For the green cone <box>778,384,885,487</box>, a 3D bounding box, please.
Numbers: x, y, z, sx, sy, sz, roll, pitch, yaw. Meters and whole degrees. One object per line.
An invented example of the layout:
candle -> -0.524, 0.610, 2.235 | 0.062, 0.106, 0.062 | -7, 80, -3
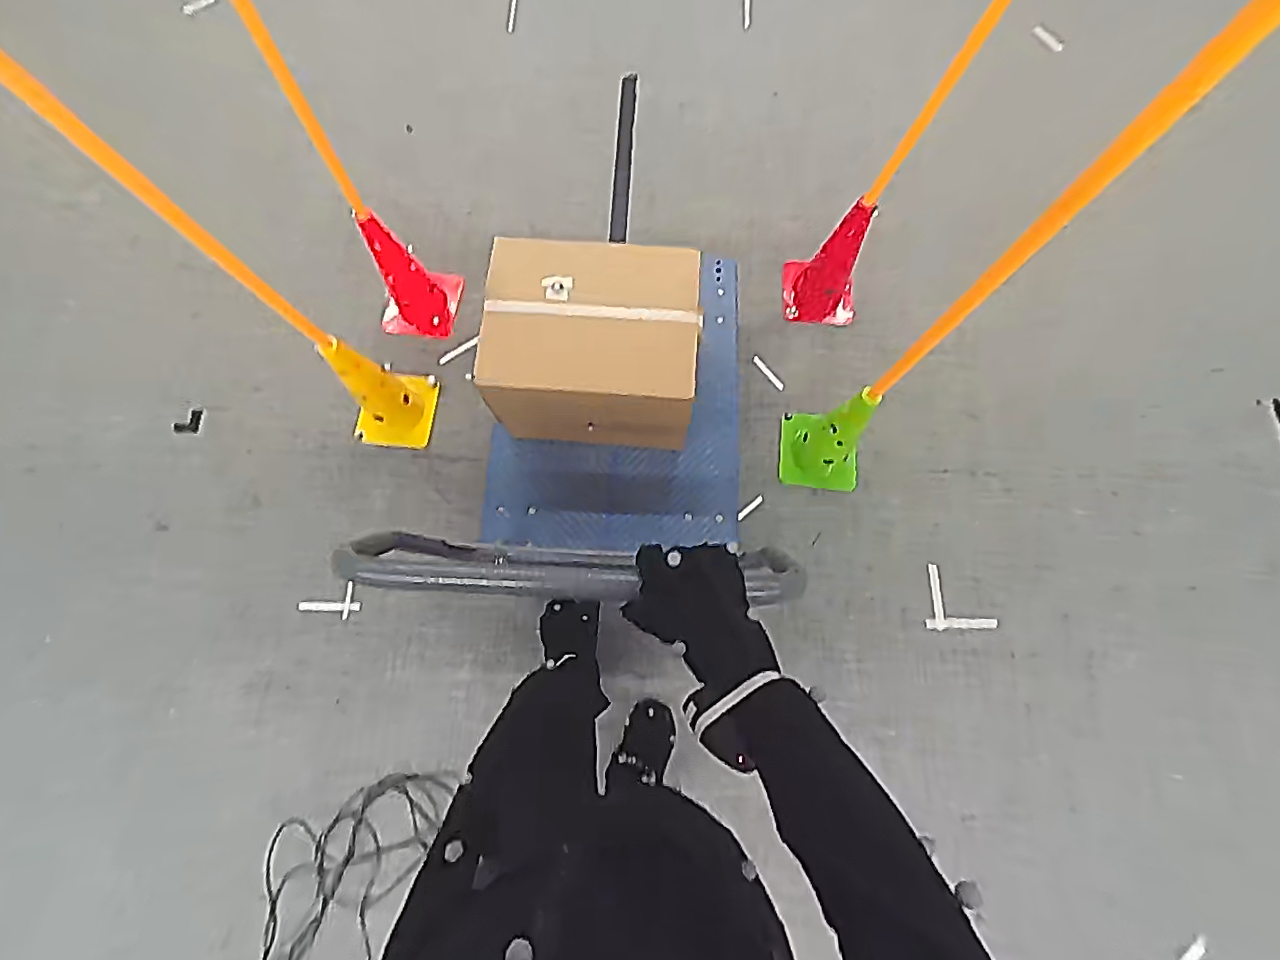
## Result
green cone -> 0.472, -0.129, 1.271 | 0.202, 0.368, 0.200 | 7, 75, 1

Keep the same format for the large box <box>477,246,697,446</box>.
large box -> -0.090, -0.267, 1.164 | 0.408, 0.320, 0.320 | 4, 76, 2

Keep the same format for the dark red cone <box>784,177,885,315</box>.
dark red cone -> 0.515, -0.601, 1.377 | 0.201, 0.394, 0.202 | 3, 76, -1

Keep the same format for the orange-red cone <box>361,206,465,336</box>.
orange-red cone -> -0.618, -0.560, 1.393 | 0.198, 0.360, 0.199 | 10, 74, 2
